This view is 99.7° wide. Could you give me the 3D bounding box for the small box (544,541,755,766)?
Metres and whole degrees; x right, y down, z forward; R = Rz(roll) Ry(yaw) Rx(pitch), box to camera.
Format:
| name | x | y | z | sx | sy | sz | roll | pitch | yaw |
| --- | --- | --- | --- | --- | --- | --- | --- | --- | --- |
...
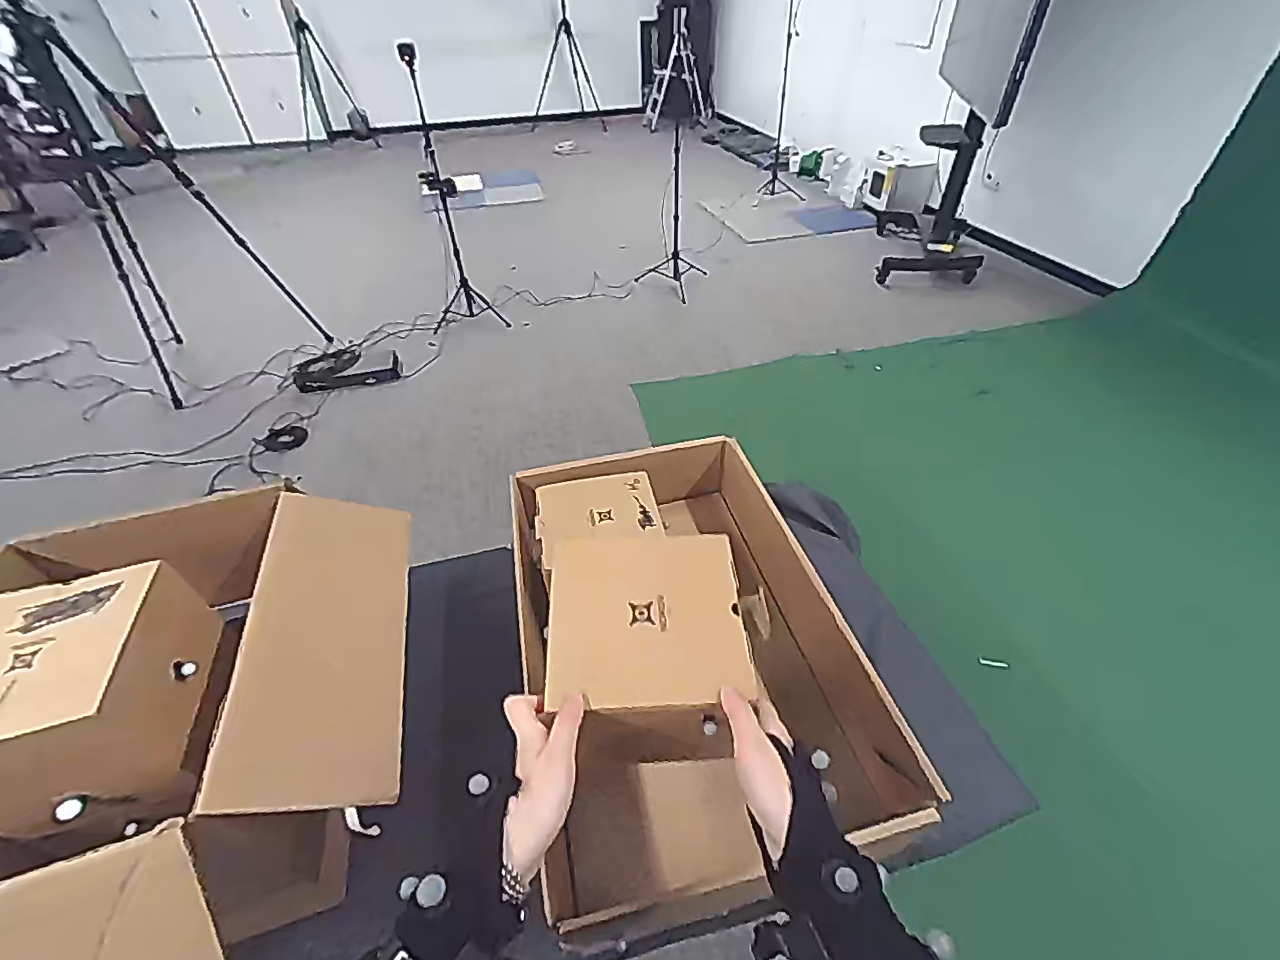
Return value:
| name | x | y | z | sx | sy | sz | roll | pitch | yaw |
| --- | --- | --- | --- | --- | --- | --- | --- | --- | --- |
| small box | 0.005 | 0.179 | 0.550 | 0.179 | 0.176 | 0.168 | -2 | 48 | -3 |
